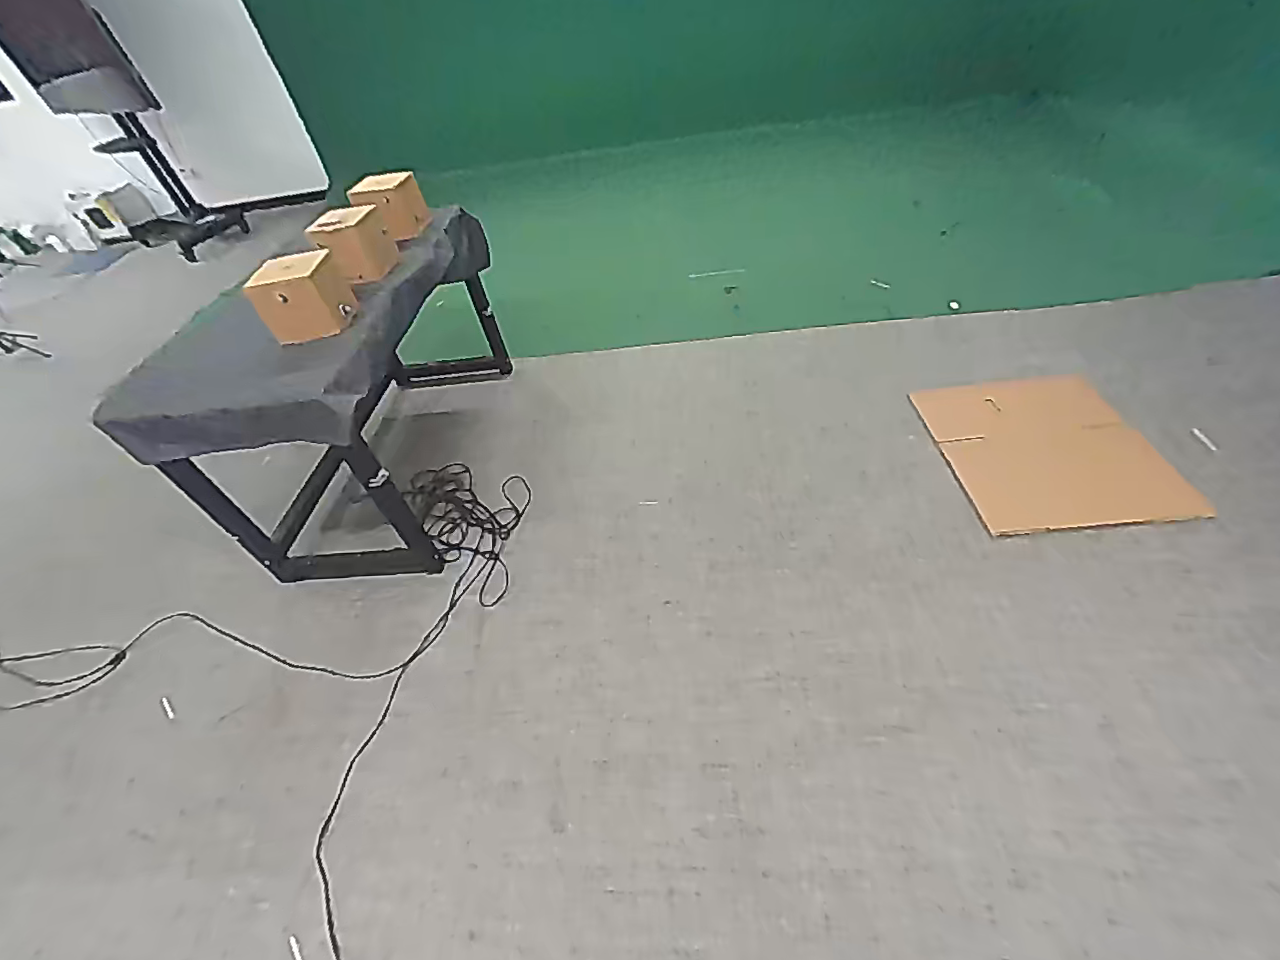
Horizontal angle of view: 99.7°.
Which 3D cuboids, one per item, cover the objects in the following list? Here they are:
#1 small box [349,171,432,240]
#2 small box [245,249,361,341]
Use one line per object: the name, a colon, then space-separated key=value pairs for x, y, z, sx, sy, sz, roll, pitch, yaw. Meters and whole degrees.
small box: x=-0.868 y=-0.957 z=1.895 sx=0.179 sy=0.176 sz=0.168 roll=-1 pitch=46 yaw=10
small box: x=-0.888 y=-0.489 z=1.442 sx=0.179 sy=0.176 sz=0.168 roll=-9 pitch=46 yaw=1
